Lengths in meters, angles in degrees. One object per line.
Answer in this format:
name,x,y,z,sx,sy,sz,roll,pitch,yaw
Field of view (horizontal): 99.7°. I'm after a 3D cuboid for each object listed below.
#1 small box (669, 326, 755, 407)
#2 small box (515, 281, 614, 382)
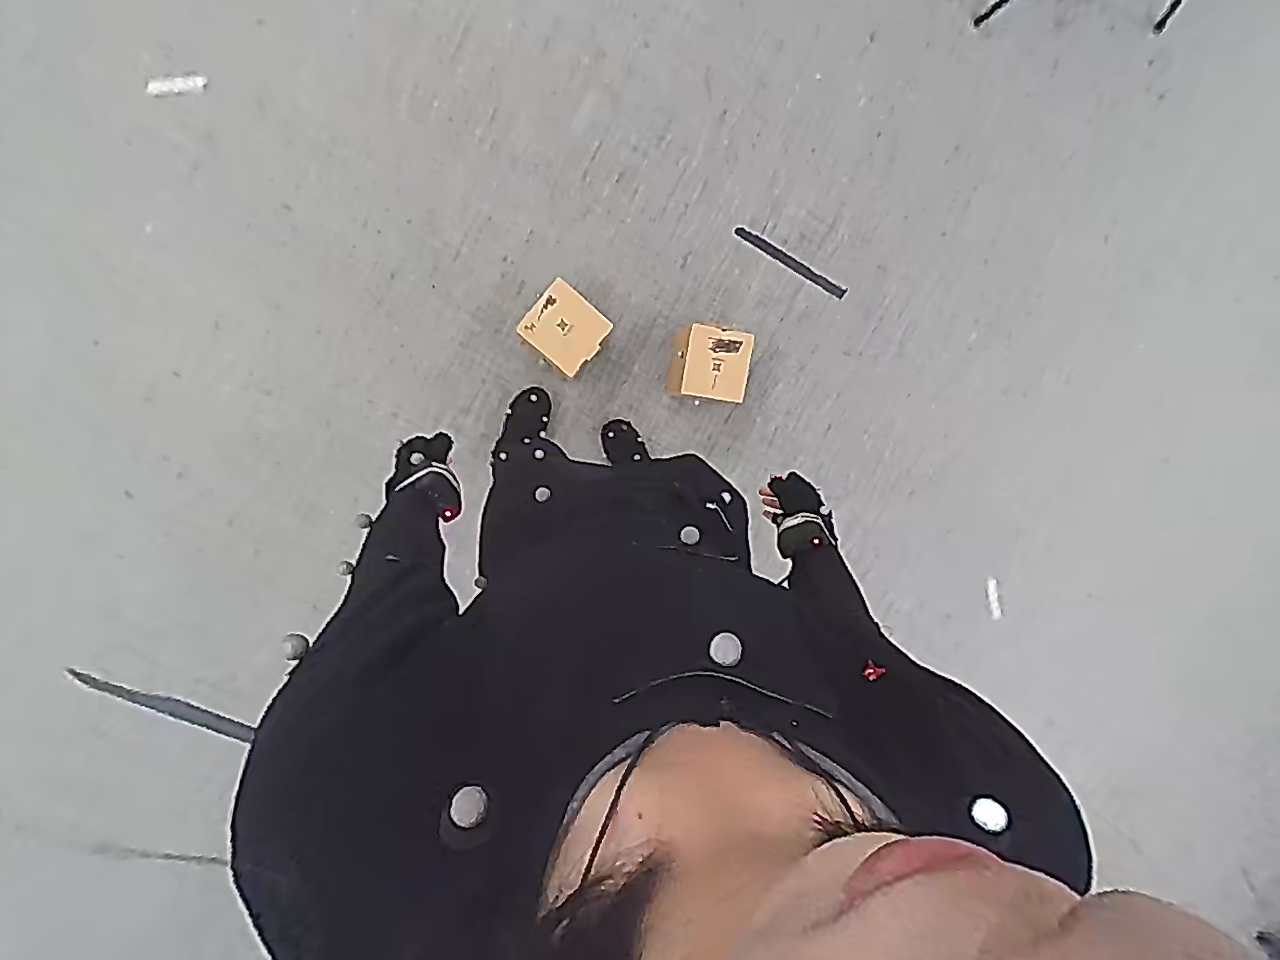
small box,0.181,-0.291,1.417,0.168,0.176,0.179,8,97,-10
small box,-0.188,-0.364,1.353,0.179,0.176,0.168,41,90,-12
